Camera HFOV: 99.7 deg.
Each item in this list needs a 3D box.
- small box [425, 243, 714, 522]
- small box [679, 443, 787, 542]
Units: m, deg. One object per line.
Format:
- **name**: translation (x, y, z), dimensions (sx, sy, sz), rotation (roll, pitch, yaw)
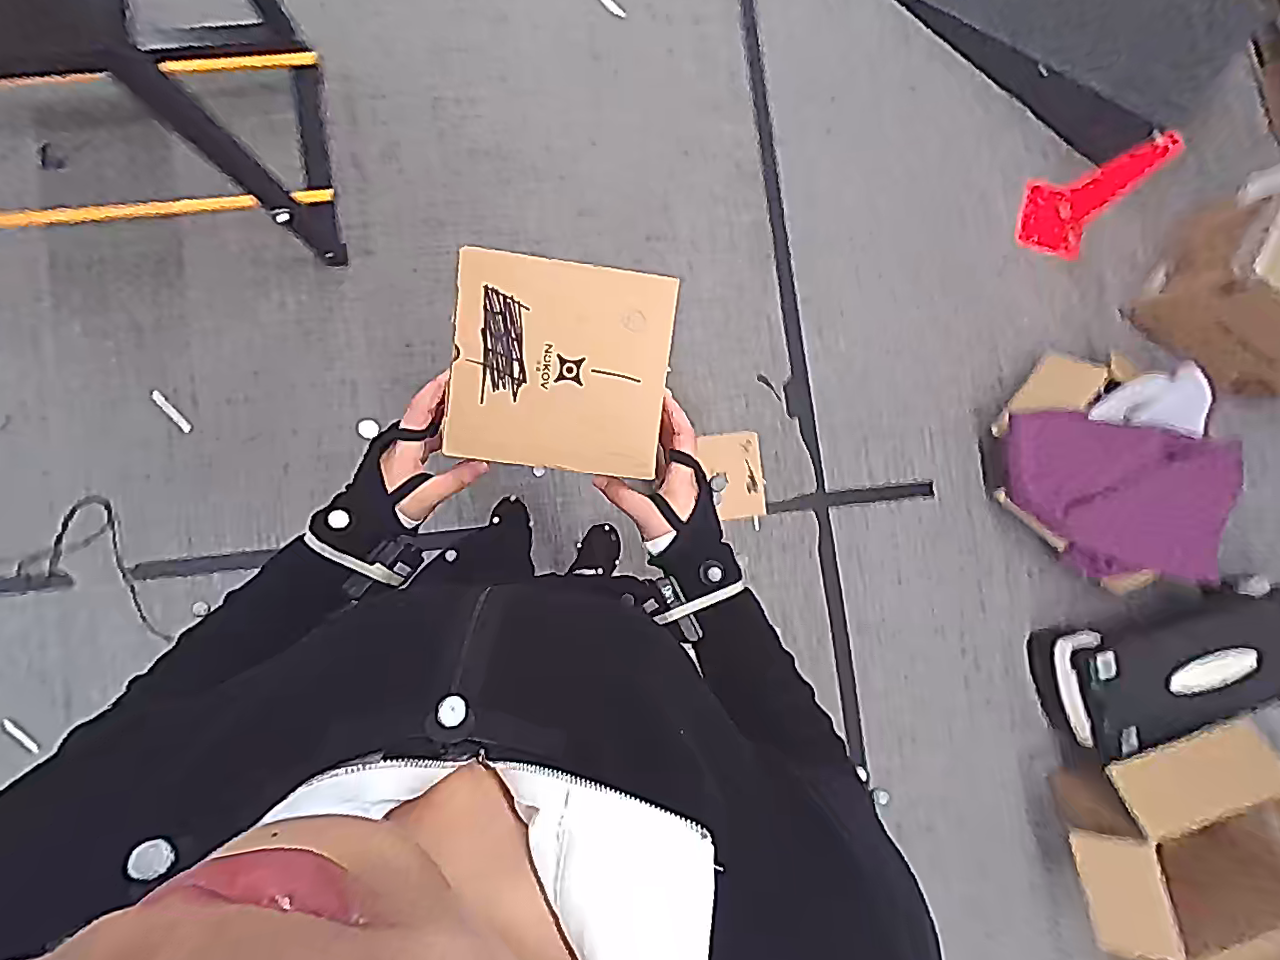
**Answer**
- **small box**: translation (-0.051, -0.069, 0.429), dimensions (0.179, 0.176, 0.168), rotation (5, 97, -5)
- **small box**: translation (0.163, 0.027, 1.033), dimensions (0.179, 0.176, 0.168), rotation (-6, 88, -4)
